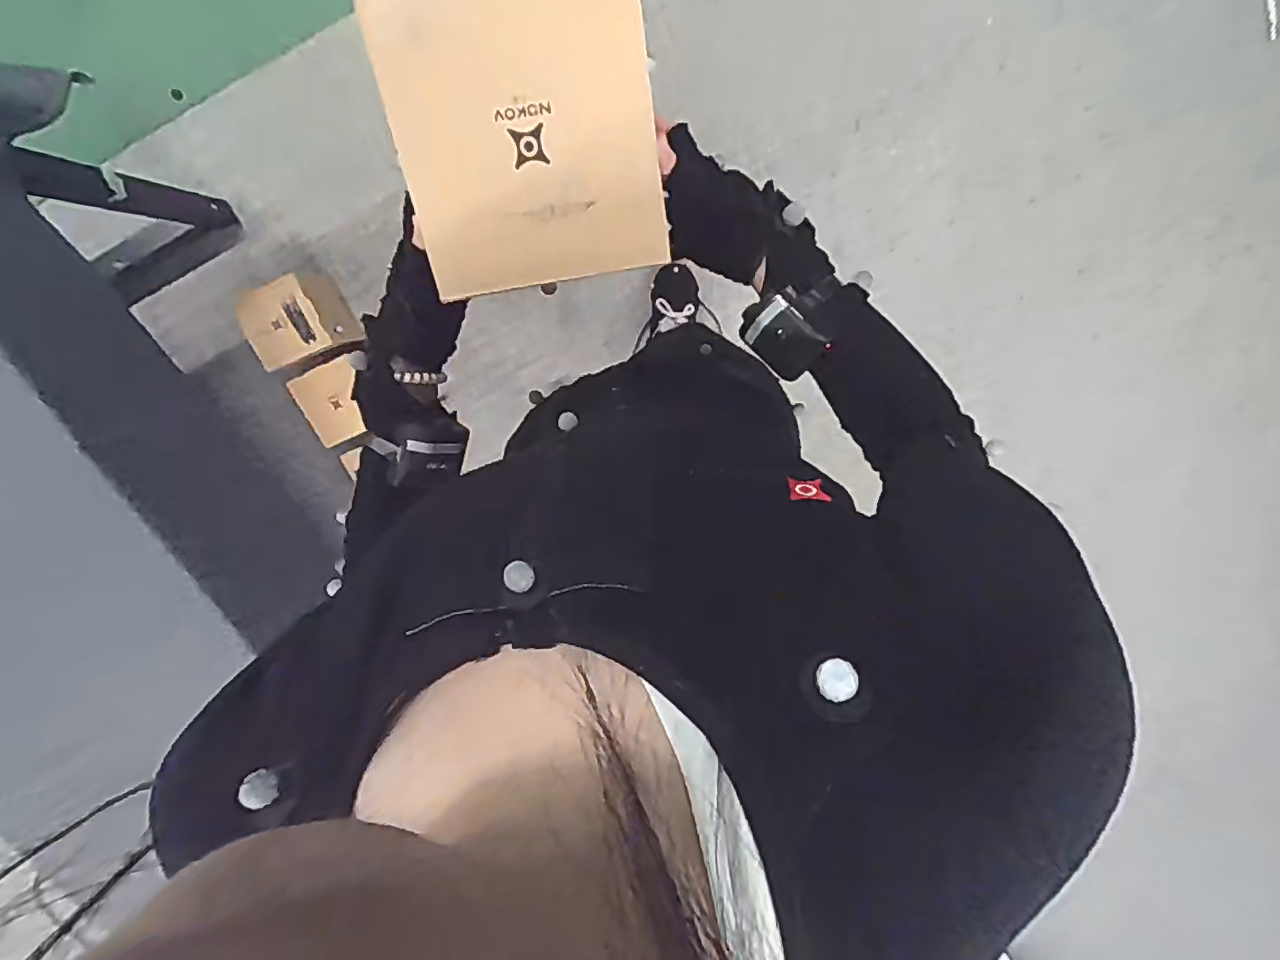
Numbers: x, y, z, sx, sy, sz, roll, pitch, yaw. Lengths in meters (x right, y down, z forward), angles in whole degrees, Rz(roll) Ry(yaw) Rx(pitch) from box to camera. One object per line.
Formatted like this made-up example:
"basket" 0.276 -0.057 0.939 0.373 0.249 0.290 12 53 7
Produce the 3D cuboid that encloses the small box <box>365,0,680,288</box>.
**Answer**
"small box" -0.071 -0.252 0.402 0.168 0.176 0.179 -10 116 -1
